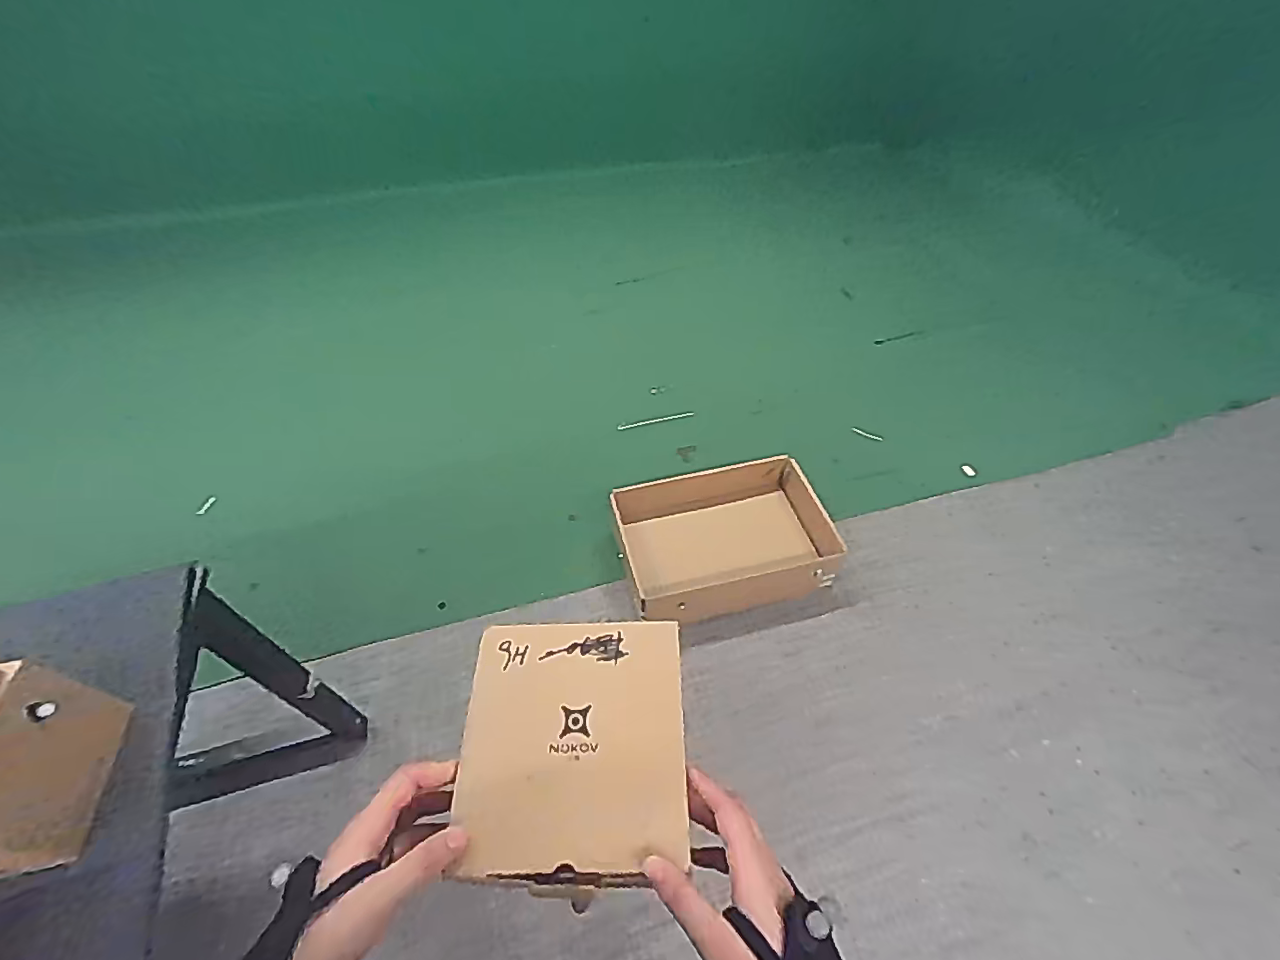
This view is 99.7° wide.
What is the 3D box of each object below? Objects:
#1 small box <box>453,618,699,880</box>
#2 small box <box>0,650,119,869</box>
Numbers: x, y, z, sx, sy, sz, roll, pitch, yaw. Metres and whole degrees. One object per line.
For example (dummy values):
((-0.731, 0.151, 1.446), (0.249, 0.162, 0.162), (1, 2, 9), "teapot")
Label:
((-0.038, 0.233, 0.462), (0.168, 0.176, 0.179), (-1, 52, 1), "small box")
((-0.730, 0.311, 0.582), (0.168, 0.176, 0.179), (-10, 52, -7), "small box")
